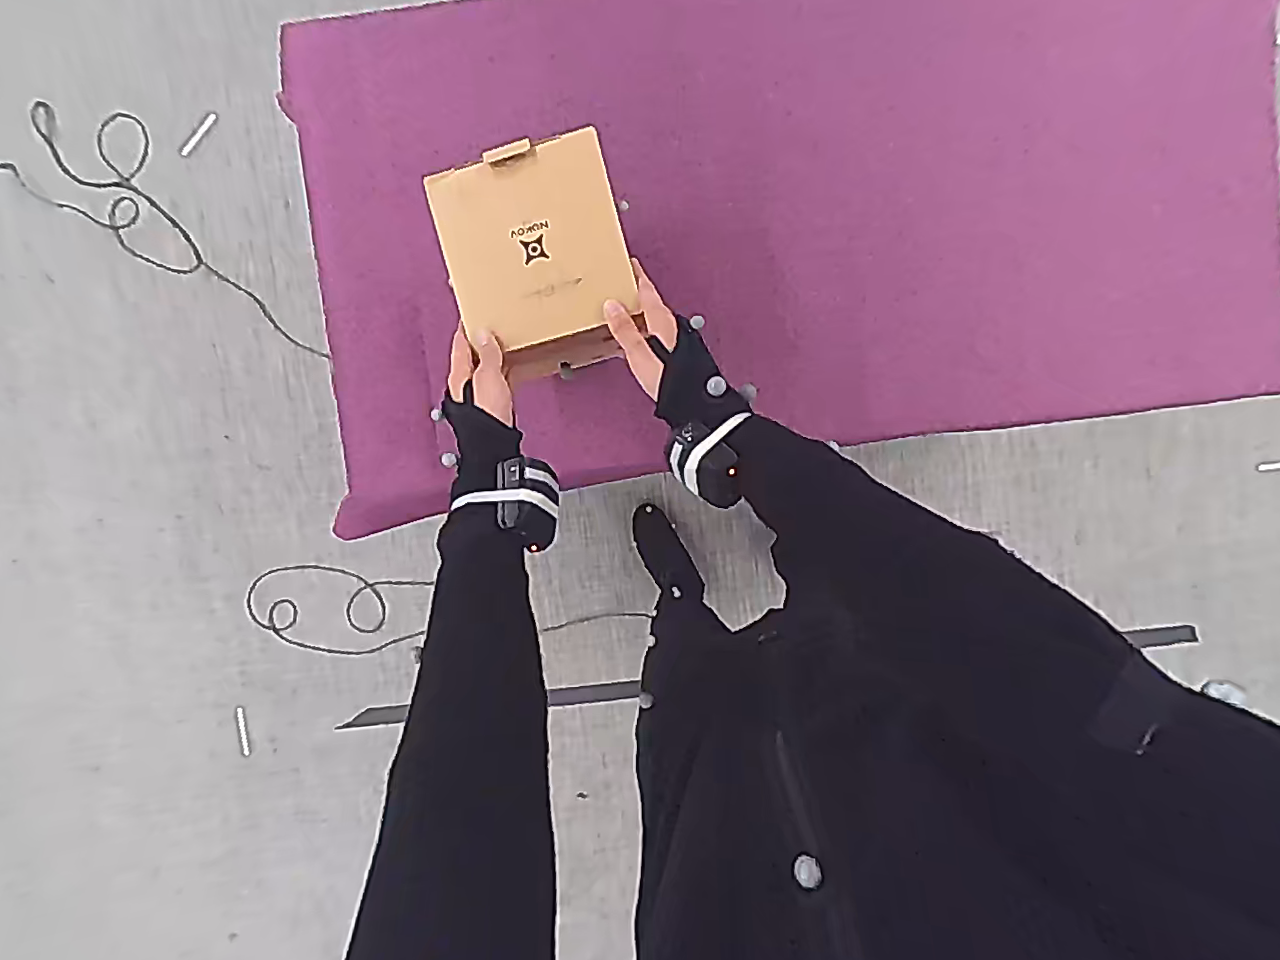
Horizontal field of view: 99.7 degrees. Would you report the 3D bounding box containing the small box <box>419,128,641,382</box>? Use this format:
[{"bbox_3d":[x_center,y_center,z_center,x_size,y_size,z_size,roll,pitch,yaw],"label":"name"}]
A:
[{"bbox_3d":[-0.098,-0.214,0.564,0.168,0.176,0.179,-15,92,3],"label":"small box"}]
